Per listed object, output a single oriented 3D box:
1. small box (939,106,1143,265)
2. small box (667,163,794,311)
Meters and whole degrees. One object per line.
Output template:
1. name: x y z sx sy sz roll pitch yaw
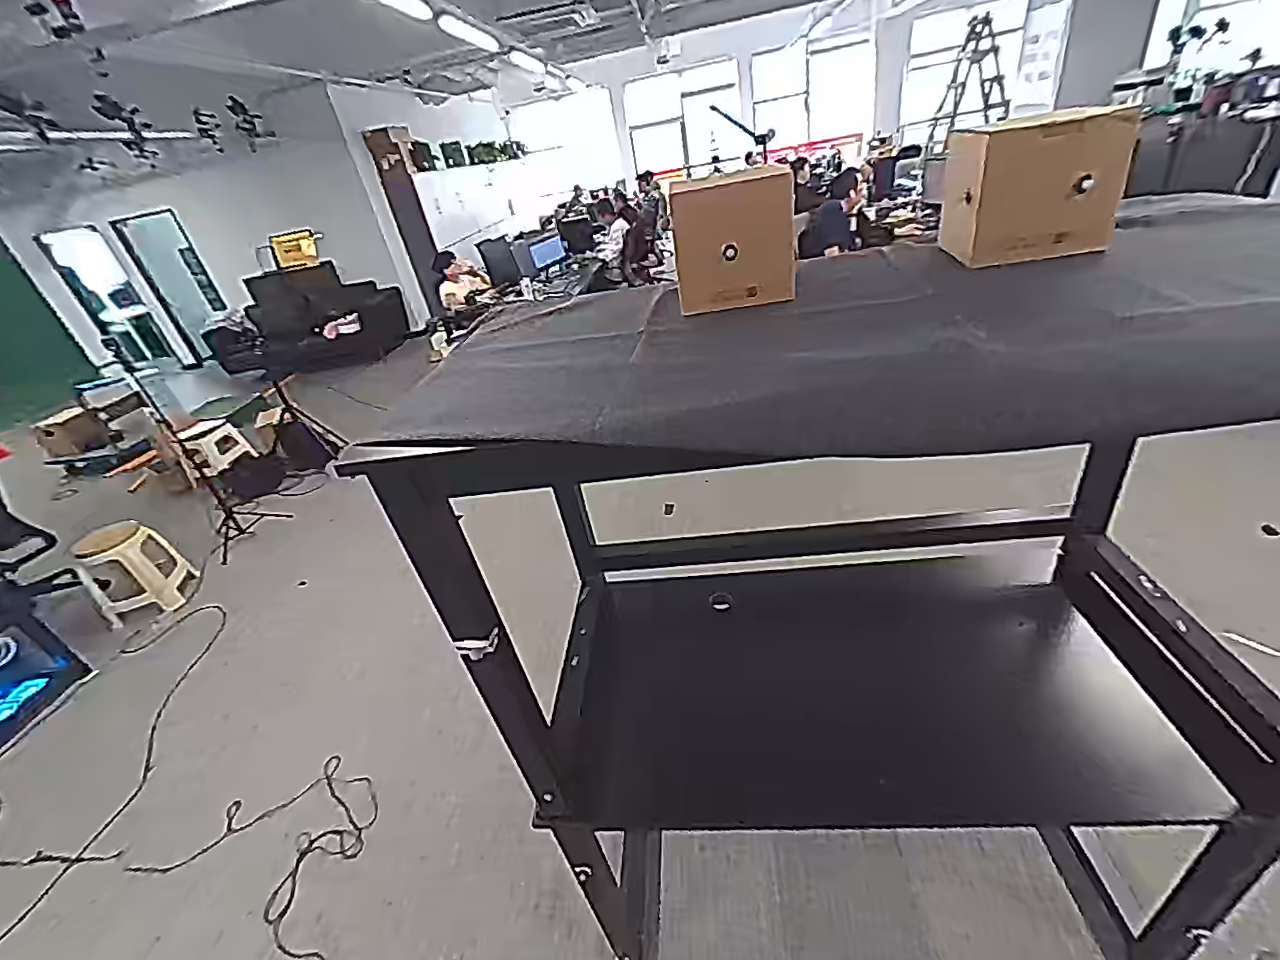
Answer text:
1. small box: 0.542 -0.409 0.763 0.168 0.176 0.179 -2 32 13
2. small box: 0.135 -0.362 0.816 0.168 0.176 0.179 -6 32 8
